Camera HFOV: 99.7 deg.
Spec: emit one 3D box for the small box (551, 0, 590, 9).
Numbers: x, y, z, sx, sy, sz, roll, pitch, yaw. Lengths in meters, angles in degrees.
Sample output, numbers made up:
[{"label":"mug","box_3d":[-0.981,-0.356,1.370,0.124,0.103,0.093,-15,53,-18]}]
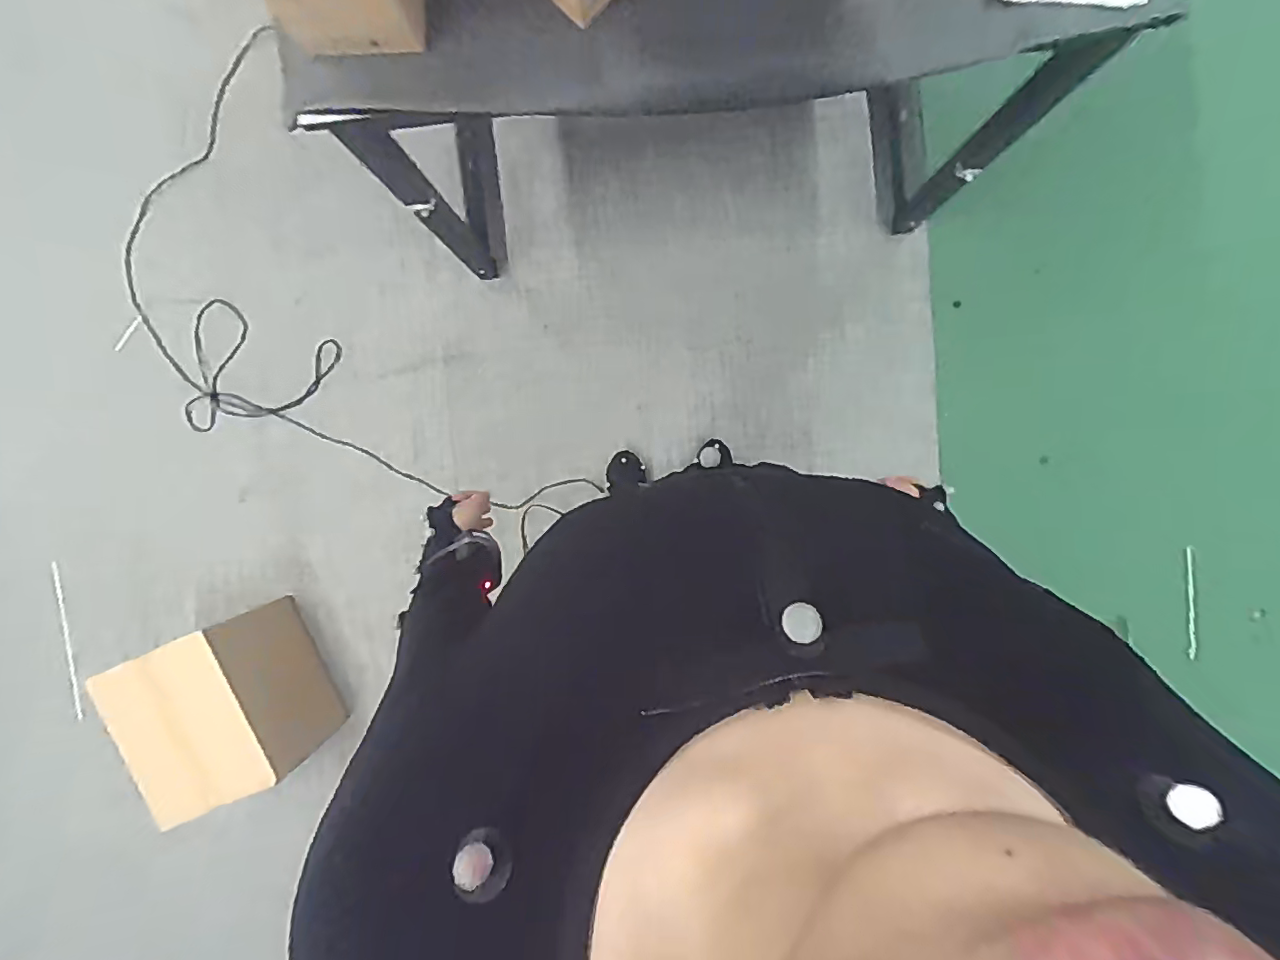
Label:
[{"label":"small box","box_3d":[-0.093,-0.727,0.644,0.179,0.176,0.168,44,92,-1]}]
